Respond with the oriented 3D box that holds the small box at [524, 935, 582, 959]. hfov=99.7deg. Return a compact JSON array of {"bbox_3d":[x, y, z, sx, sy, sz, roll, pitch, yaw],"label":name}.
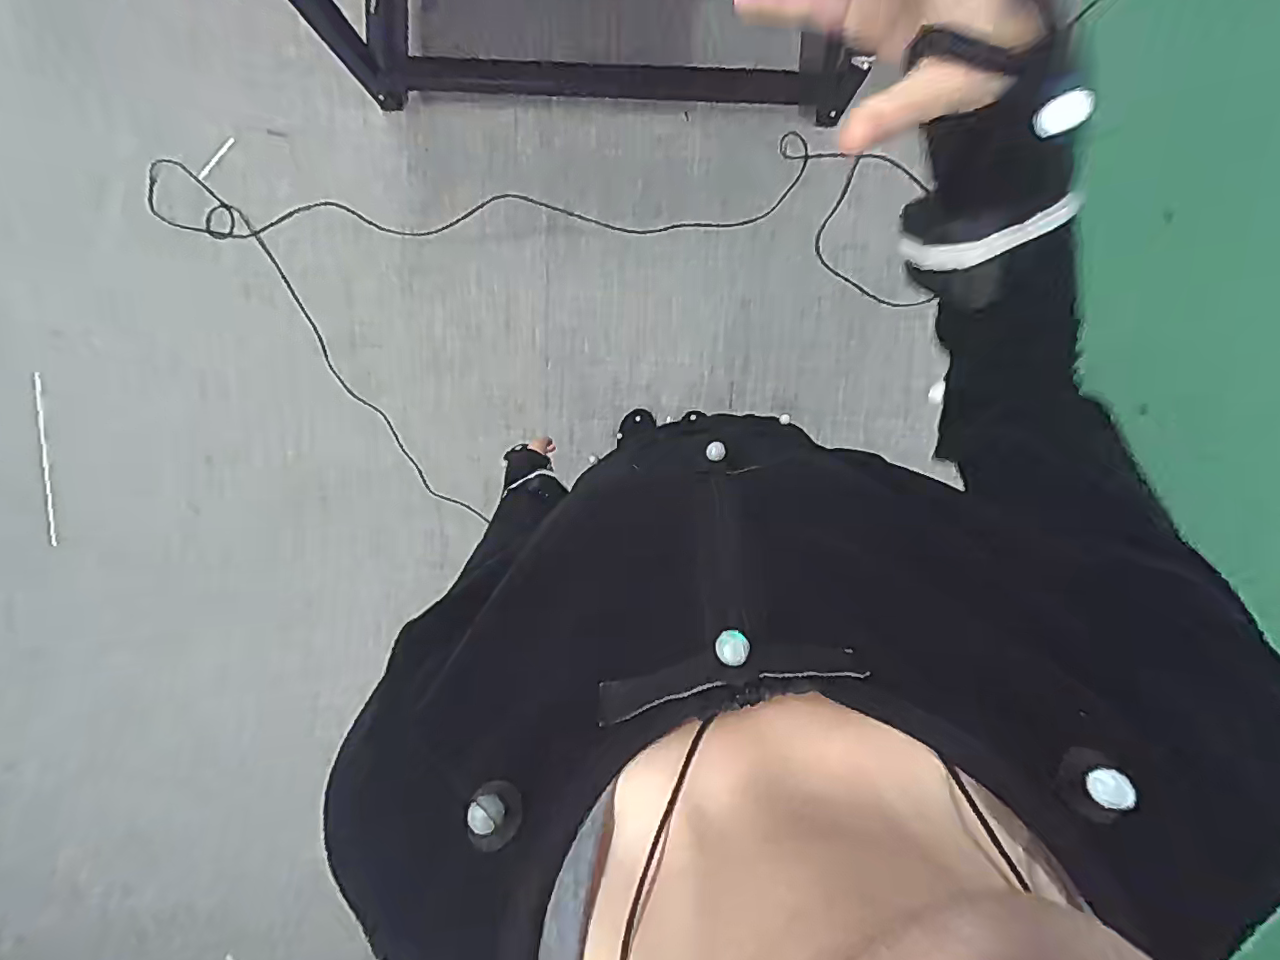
[{"bbox_3d":[-0.263,1.480,1.576,0.168,0.176,0.179,2,96,1],"label":"small box"}]
